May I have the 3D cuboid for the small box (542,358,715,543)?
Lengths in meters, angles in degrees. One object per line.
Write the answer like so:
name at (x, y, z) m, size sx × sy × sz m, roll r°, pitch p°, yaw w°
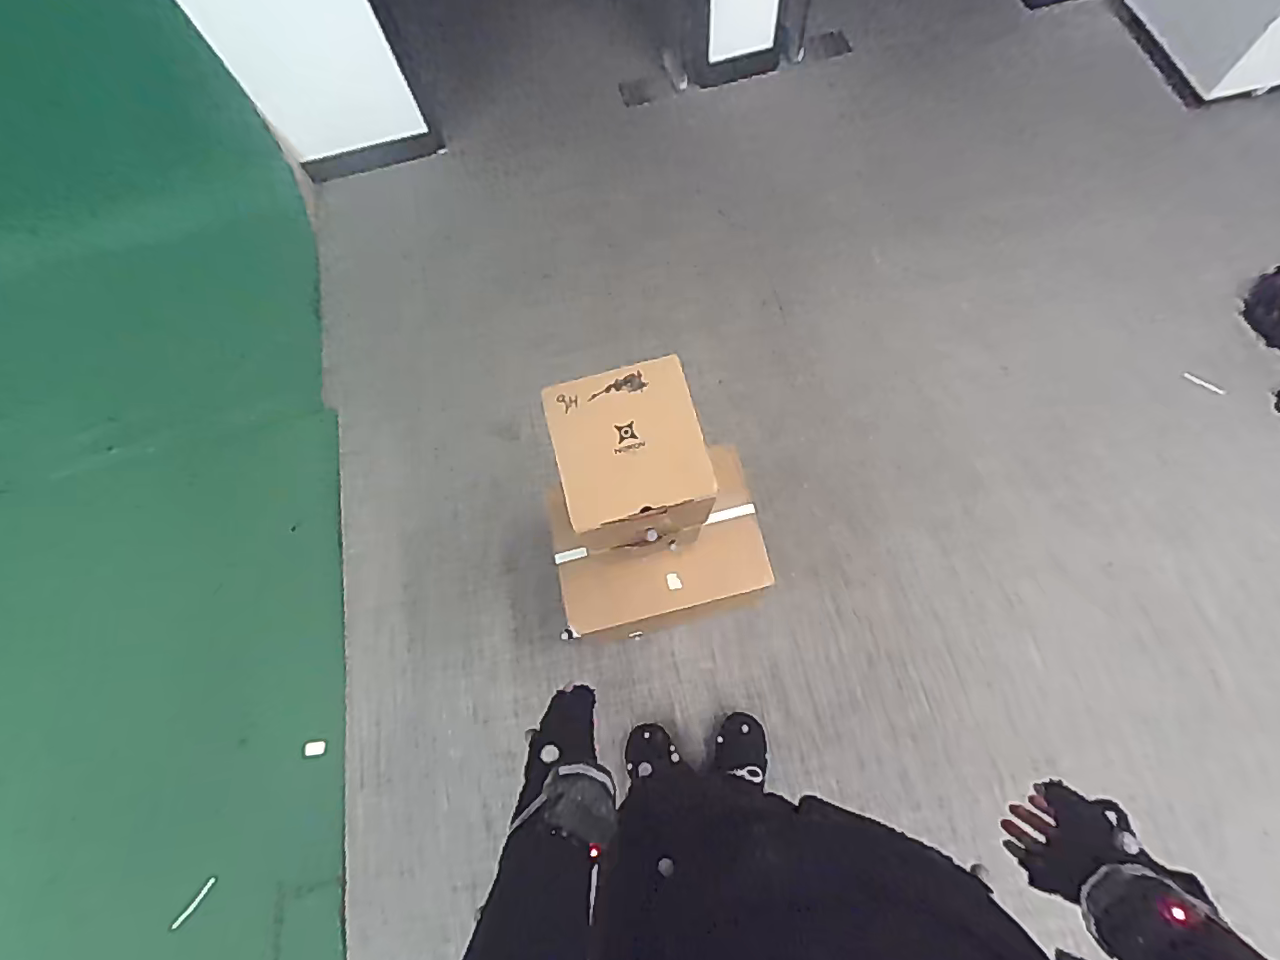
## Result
small box at (-0.011, -0.024, 0.686) m, size 0.168 × 0.176 × 0.179 m, roll -15°, pitch 76°, yaw -2°

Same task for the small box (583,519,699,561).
small box at (-0.012, 0.023, 0.843) m, size 0.168 × 0.176 × 0.179 m, roll -15°, pitch 74°, yaw -2°
